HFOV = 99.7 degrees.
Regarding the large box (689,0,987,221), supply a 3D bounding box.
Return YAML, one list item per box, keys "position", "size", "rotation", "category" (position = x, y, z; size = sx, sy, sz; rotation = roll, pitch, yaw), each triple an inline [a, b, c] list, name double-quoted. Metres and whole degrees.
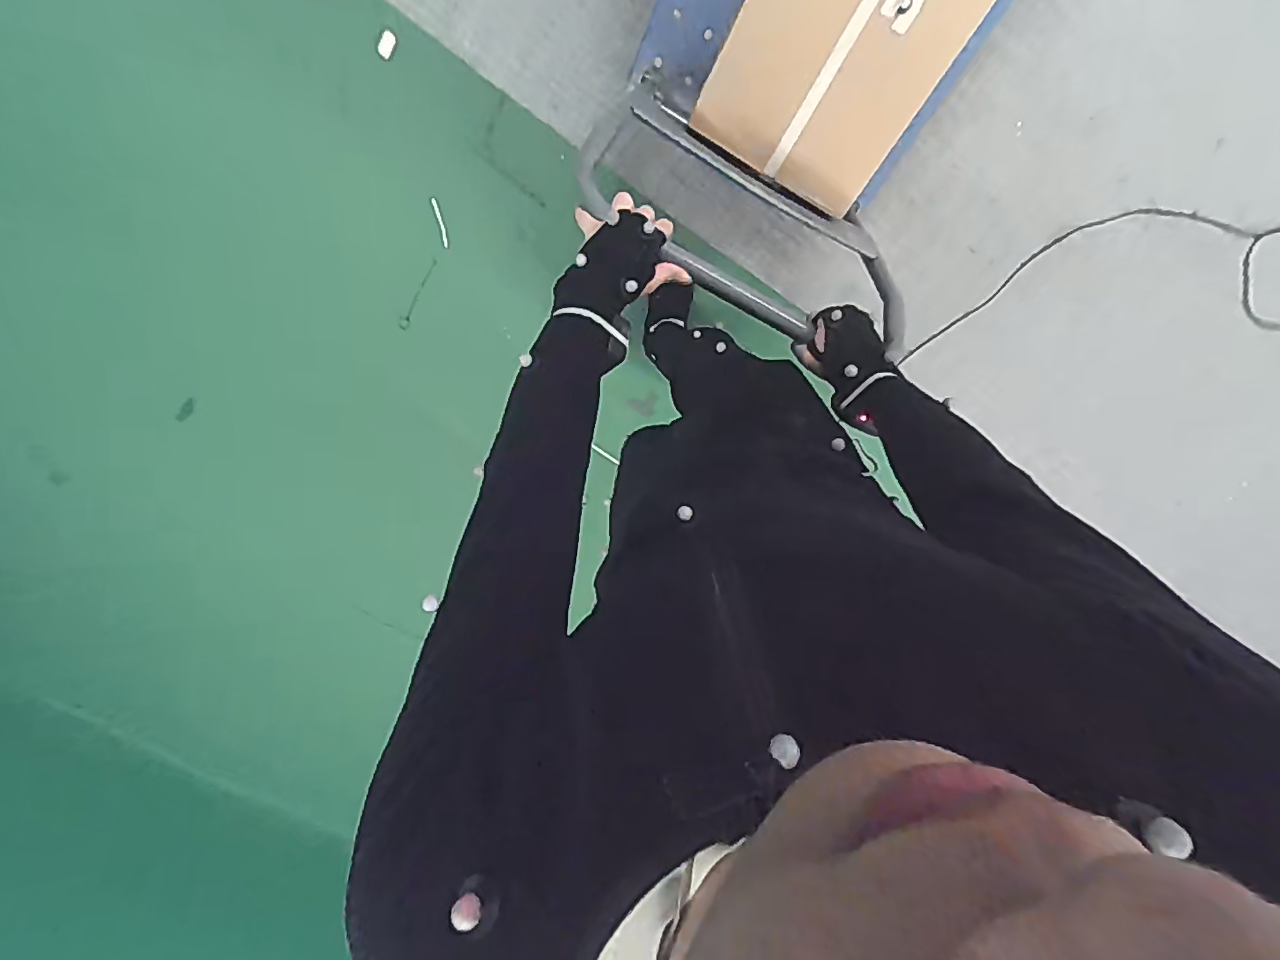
- position: [0.319, -0.744, 0.940]
  size: [0.320, 0.320, 0.408]
  rotation: [25, 126, -11]
  category: "large box"
